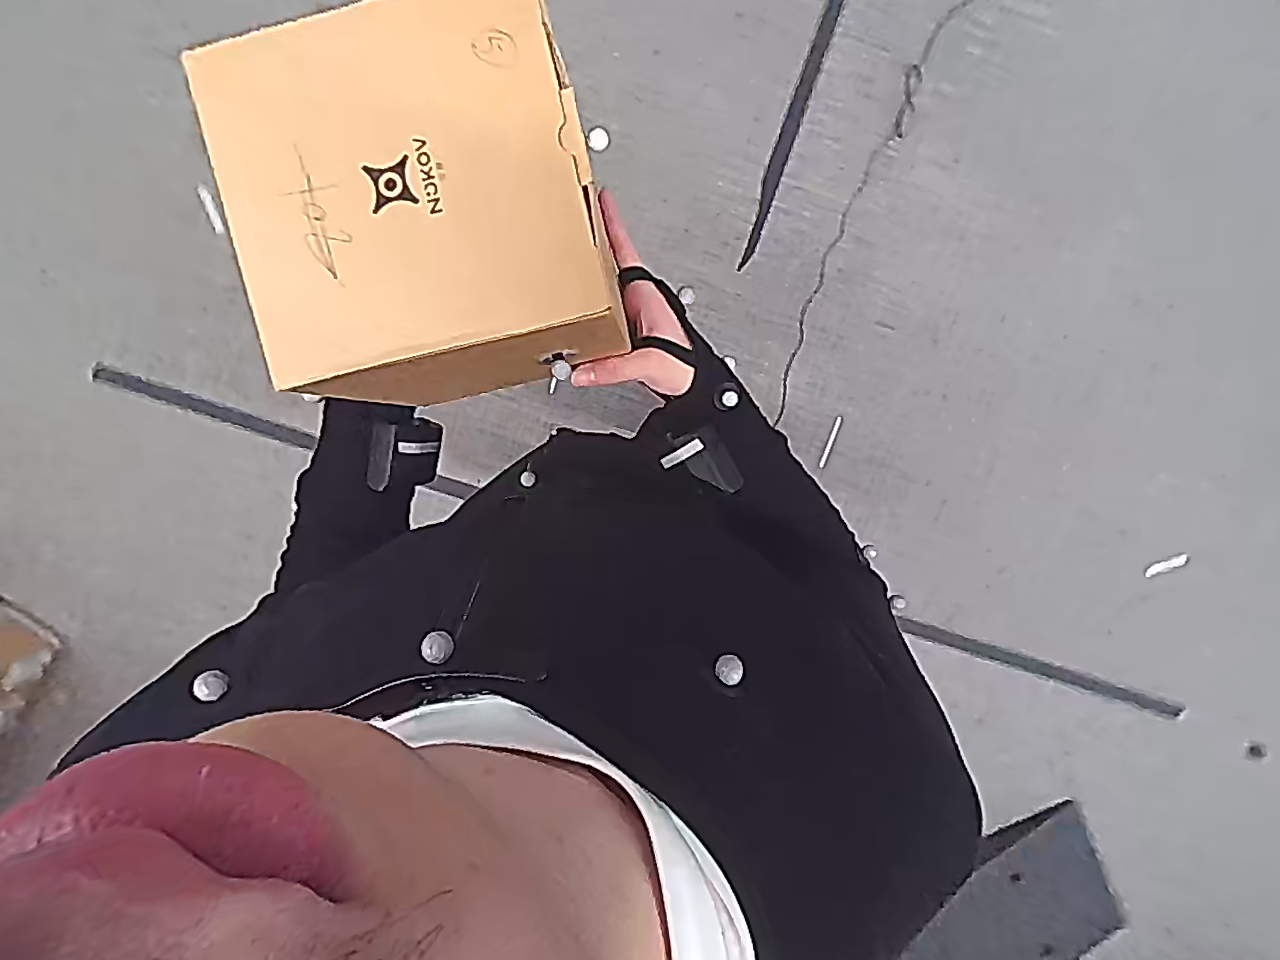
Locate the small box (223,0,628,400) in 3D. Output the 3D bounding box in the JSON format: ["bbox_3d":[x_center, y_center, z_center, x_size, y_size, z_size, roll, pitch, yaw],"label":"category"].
[{"bbox_3d":[-0.106,-0.153,0.351,0.179,0.176,0.168,-12,93,3],"label":"small box"}]
